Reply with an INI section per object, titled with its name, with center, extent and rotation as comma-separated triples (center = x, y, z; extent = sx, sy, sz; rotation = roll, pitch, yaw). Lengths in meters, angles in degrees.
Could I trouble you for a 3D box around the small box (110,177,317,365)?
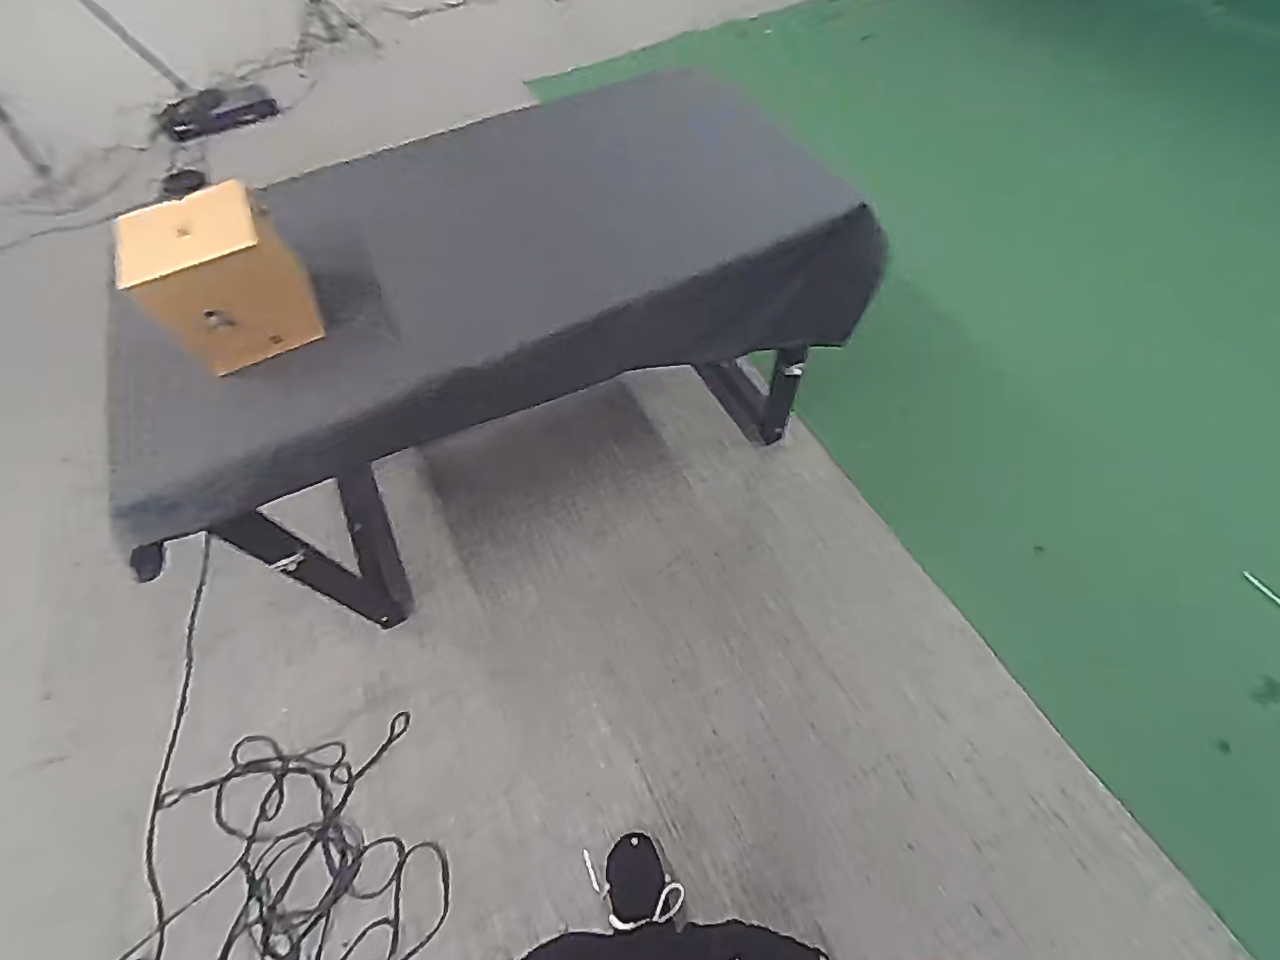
[small box]
center = -0.602, -0.290, 0.780
extent = 0.168, 0.176, 0.179
rotation = -27, 61, -12
